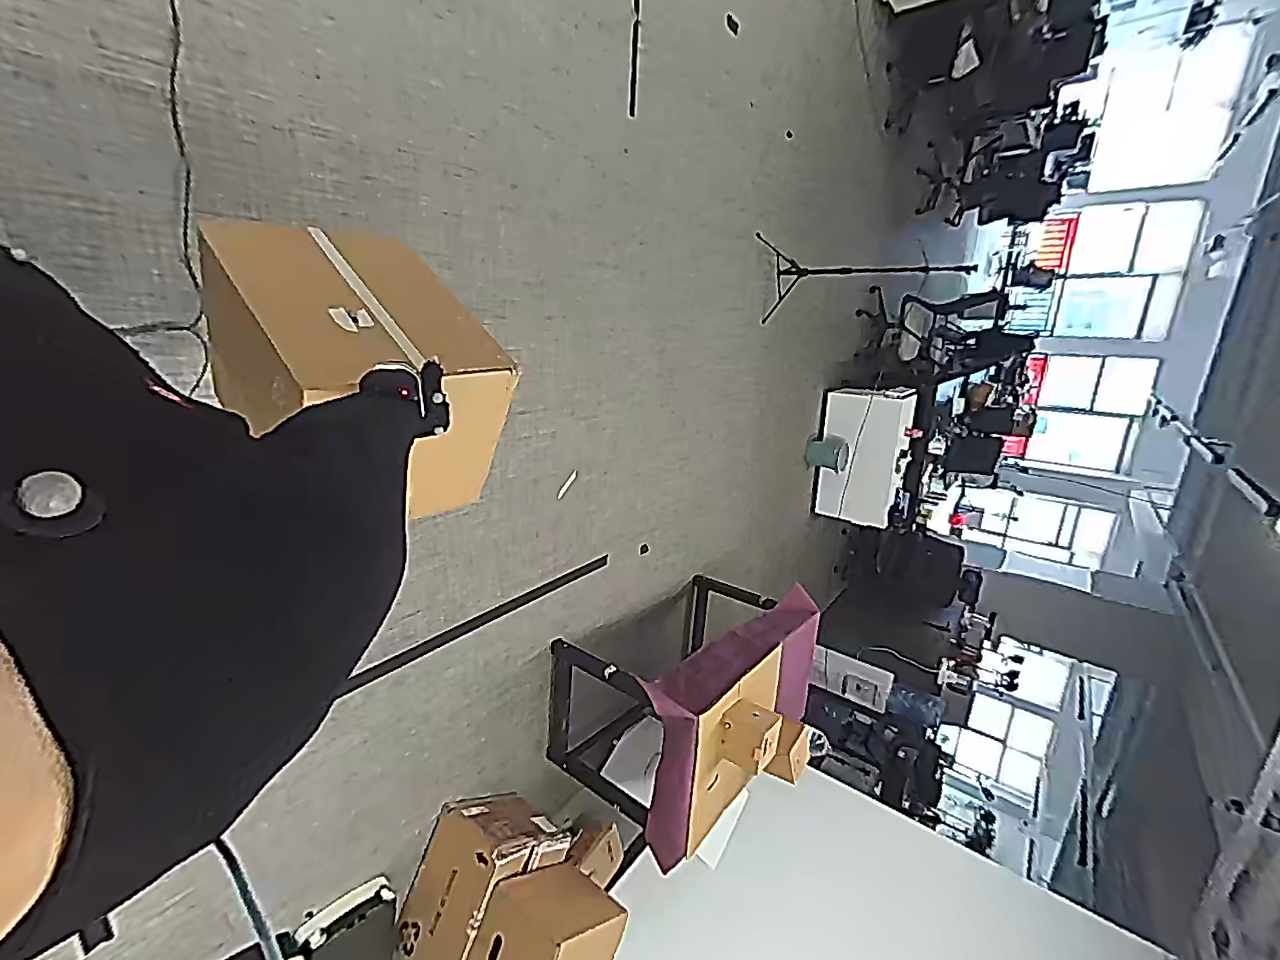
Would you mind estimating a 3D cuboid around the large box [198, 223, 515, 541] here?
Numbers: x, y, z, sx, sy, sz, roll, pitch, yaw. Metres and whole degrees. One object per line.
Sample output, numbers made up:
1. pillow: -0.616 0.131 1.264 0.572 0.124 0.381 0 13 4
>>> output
1. large box: -0.487 -0.173 0.922 0.320 0.408 0.320 -20 151 -45
